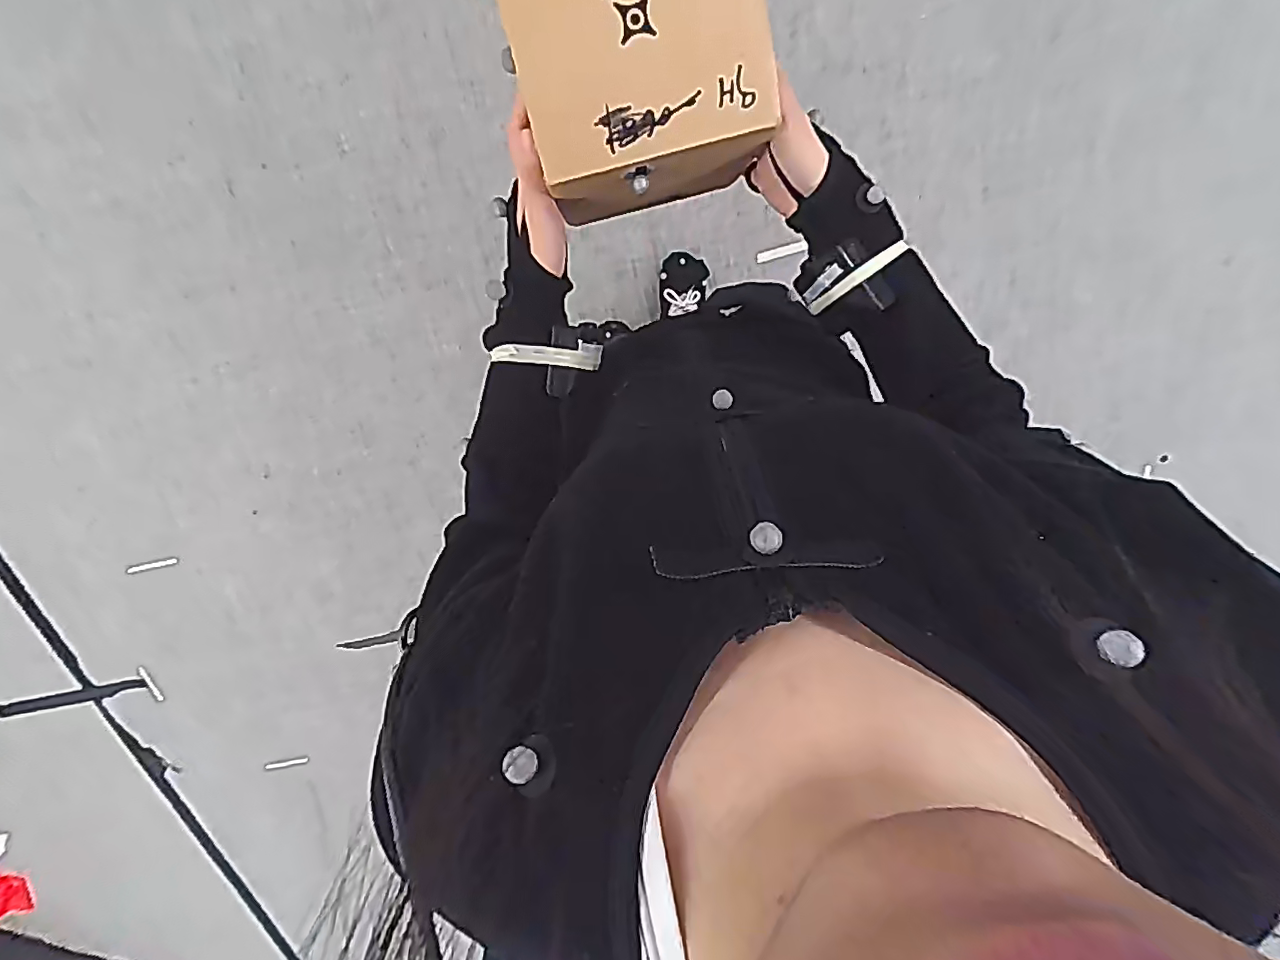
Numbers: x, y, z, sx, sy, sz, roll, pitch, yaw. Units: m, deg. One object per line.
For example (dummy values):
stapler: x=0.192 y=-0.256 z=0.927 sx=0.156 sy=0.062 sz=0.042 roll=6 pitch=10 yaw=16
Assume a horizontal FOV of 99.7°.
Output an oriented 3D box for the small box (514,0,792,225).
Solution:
small box: x=0.000 y=-0.319 z=0.415 sx=0.168 sy=0.176 sz=0.179 roll=-14 pitch=106 yaw=1
